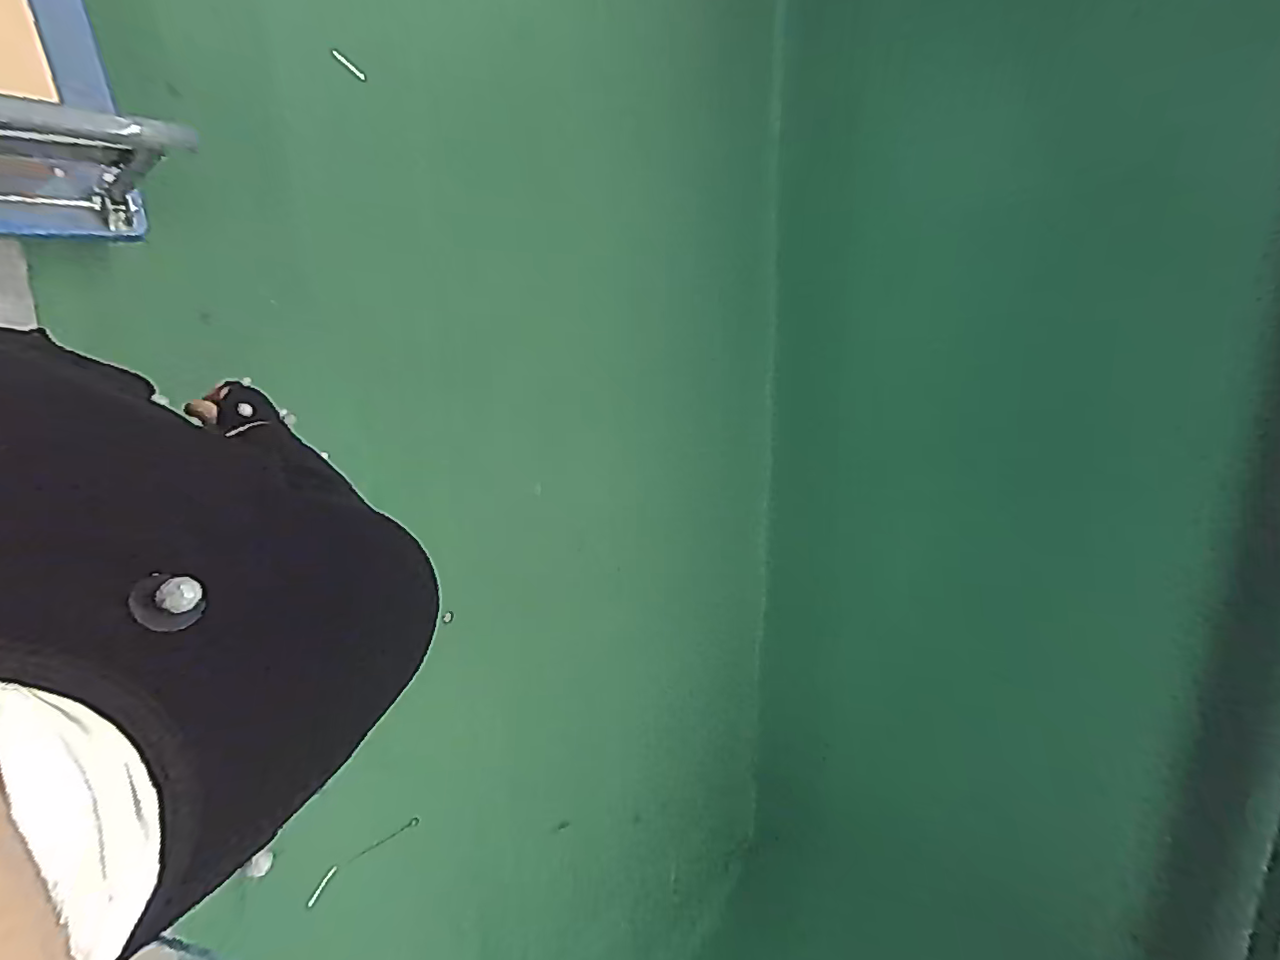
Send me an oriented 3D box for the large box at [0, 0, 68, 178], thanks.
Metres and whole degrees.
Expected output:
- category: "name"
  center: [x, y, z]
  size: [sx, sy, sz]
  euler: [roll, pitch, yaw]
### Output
- category: "large box"
  center: [-1.067, -0.679, 0.729]
  size: [0.320, 0.320, 0.408]
  euler: [-22, 111, -46]
